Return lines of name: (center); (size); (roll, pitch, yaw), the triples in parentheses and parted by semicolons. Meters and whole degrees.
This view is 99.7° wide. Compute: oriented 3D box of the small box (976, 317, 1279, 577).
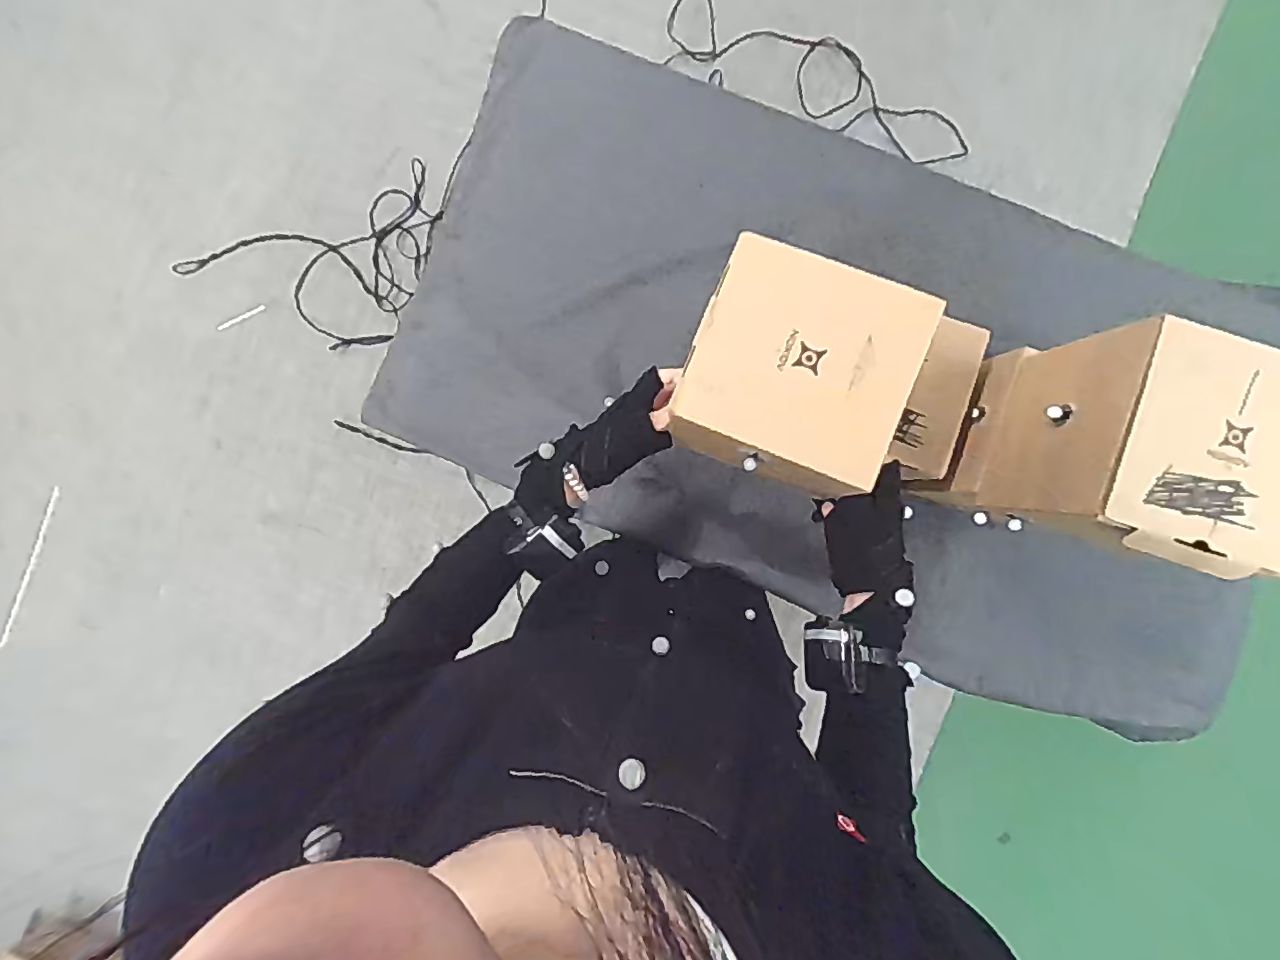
small box: (0.466, -0.027, 0.521); (0.168, 0.176, 0.179); (18, 90, 0)

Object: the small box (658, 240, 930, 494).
small box: (0.132, -0.091, 0.522); (0.179, 0.176, 0.168); (23, 89, 7)

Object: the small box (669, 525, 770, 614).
small box: (0.202, 0.234, 1.413); (0.179, 0.176, 0.168); (-3, 54, -25)
